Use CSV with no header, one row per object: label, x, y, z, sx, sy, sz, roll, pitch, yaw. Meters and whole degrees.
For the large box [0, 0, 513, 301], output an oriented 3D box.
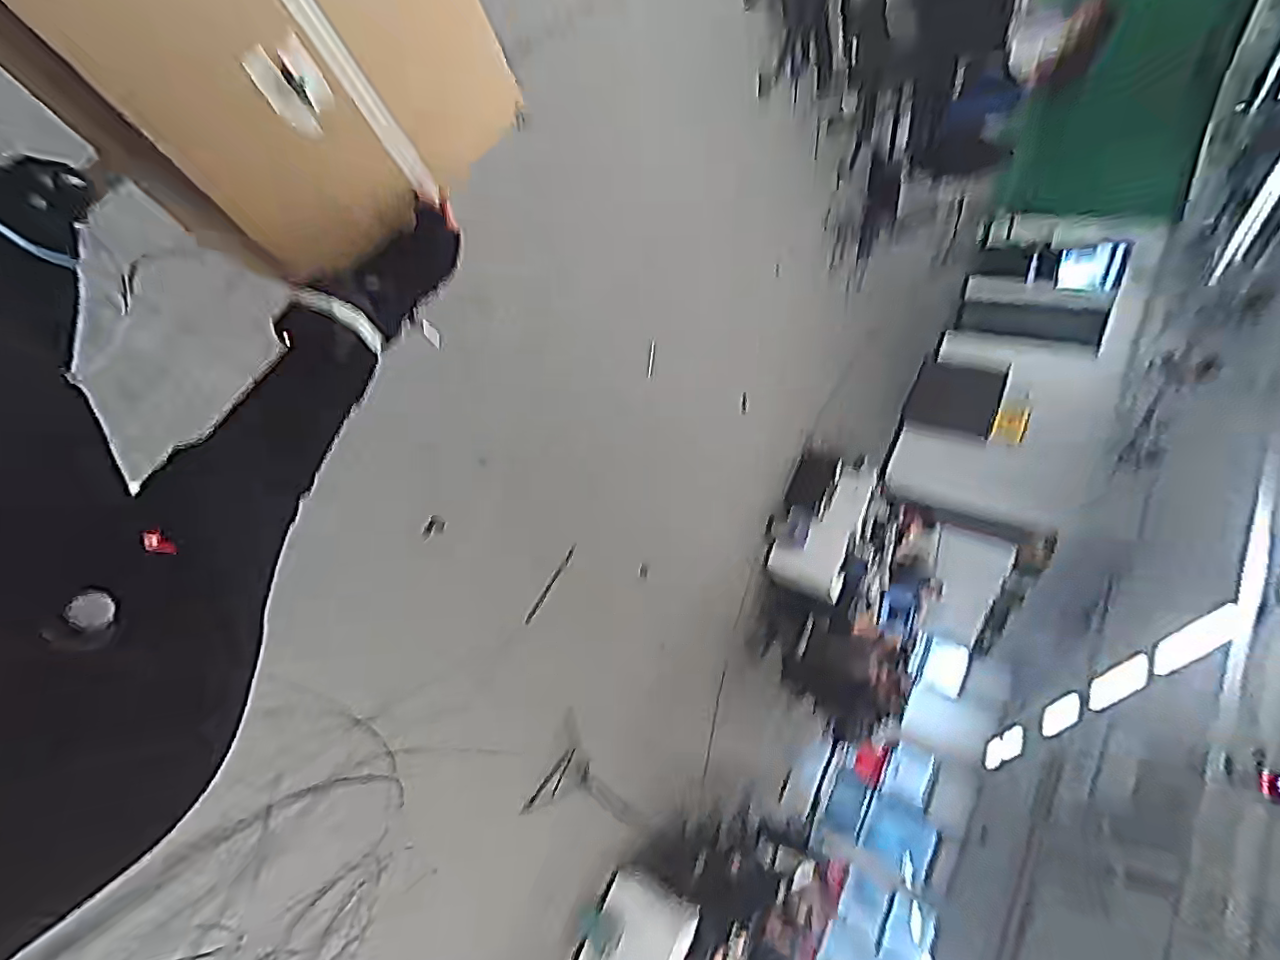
large box,-0.401,-0.444,0.480,0.320,0.320,0.408,-53,148,-14
